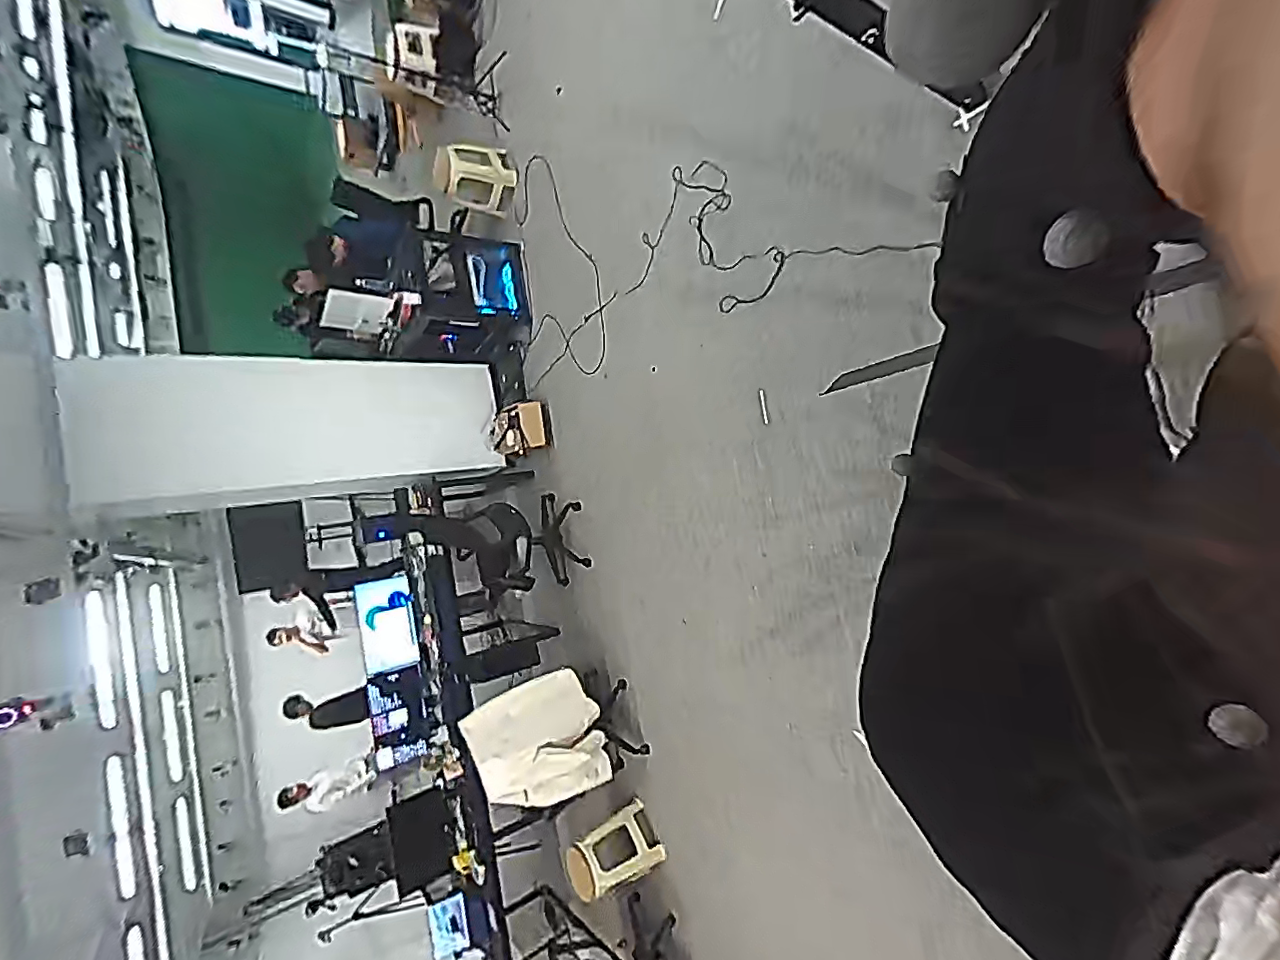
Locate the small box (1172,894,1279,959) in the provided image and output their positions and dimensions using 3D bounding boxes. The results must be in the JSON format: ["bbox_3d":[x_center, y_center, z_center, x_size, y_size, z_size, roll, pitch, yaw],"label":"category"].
[{"bbox_3d":[0.844,0.705,0.707,0.168,0.176,0.179,-17,83,52],"label":"small box"}]
